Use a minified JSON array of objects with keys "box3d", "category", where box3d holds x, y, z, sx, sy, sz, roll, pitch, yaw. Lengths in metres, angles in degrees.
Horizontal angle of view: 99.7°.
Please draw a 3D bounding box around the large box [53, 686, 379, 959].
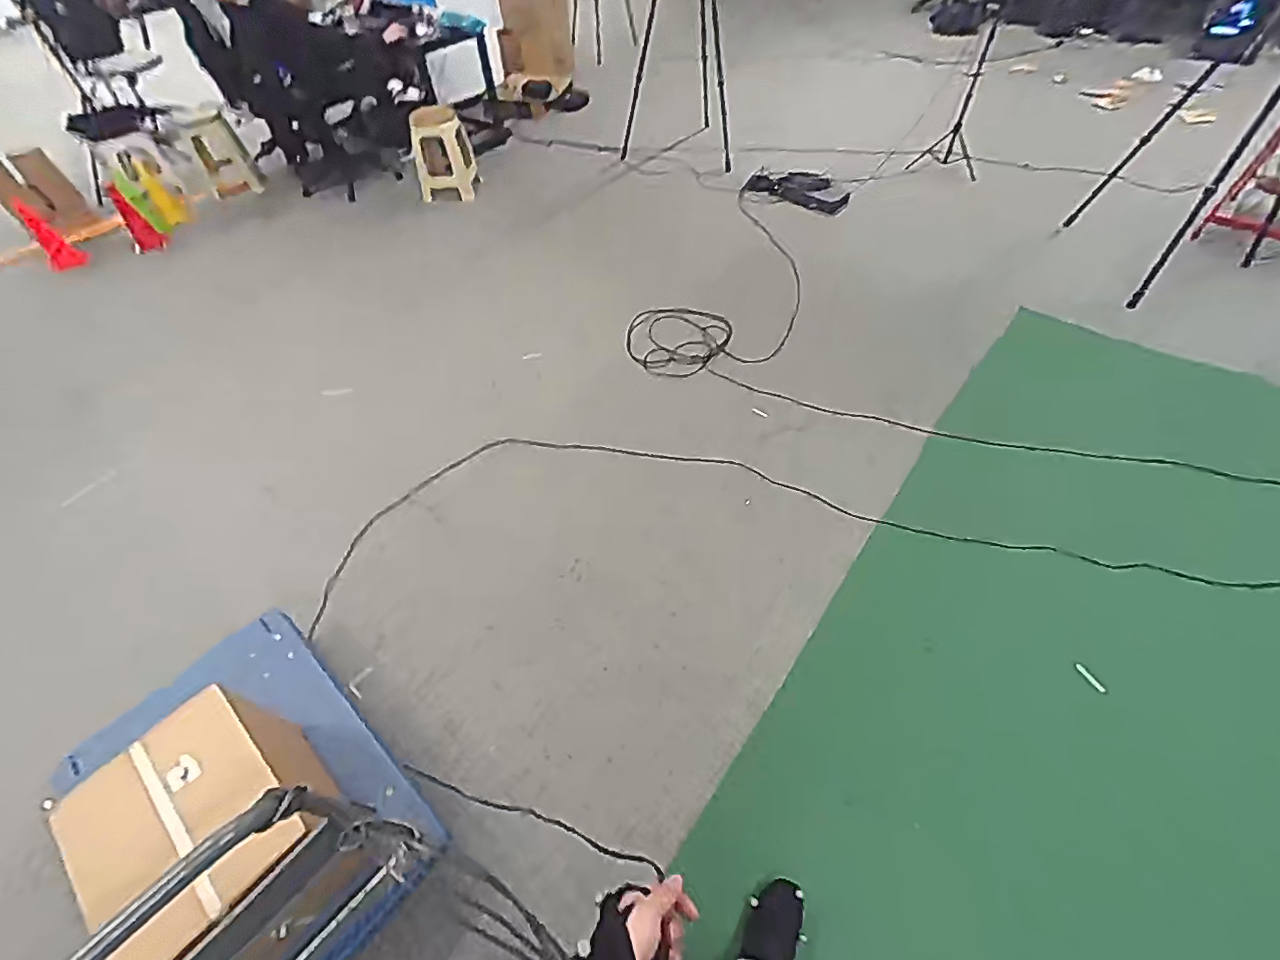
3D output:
[{"box3d":[-0.820,0.707,1.087,0.408,0.320,0.320,32,59,27],"category":"large box"}]
